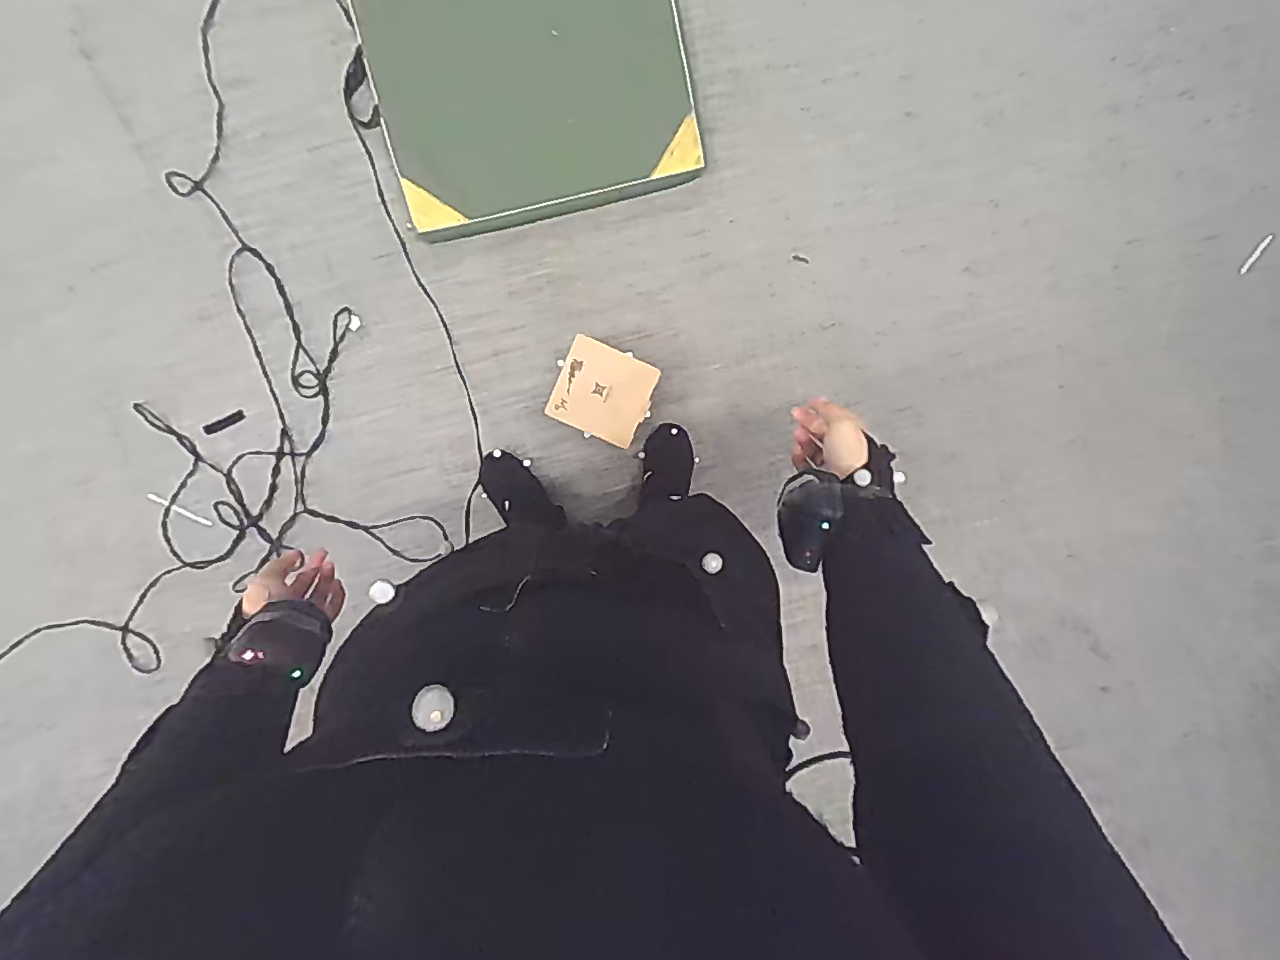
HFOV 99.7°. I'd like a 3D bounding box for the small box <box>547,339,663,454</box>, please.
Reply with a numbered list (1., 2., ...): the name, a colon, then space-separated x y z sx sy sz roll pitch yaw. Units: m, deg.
1. small box: -0.070 -0.168 1.101 0.179 0.176 0.168 24 95 -6
